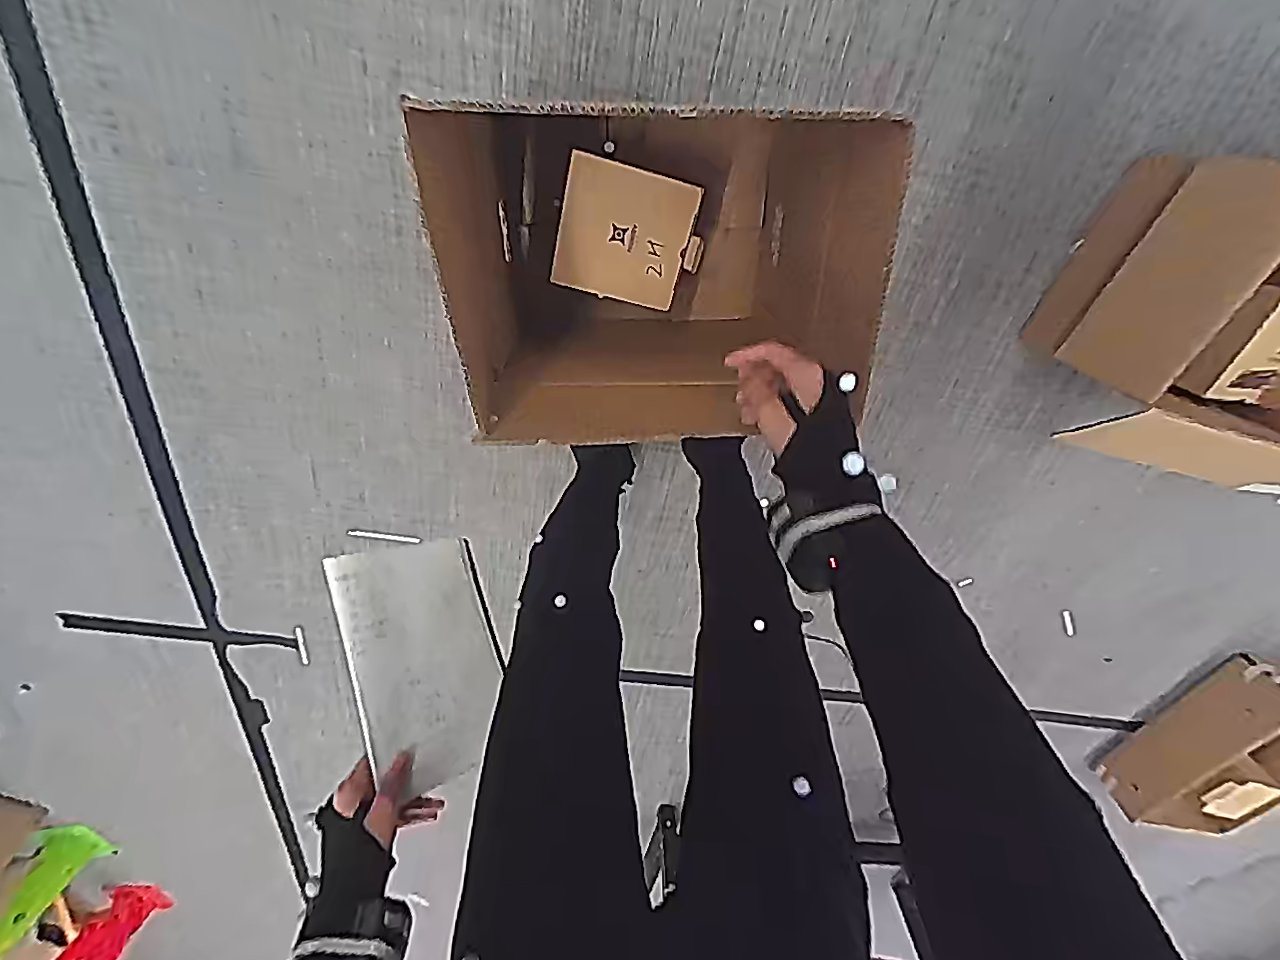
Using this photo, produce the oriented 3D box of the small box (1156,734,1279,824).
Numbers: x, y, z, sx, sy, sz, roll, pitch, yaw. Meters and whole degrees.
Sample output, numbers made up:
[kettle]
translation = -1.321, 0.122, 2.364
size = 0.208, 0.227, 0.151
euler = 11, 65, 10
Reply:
[small box]
translation = 1.740, 0.897, 1.631
size = 0.179, 0.176, 0.168
euler = 21, 119, -15
